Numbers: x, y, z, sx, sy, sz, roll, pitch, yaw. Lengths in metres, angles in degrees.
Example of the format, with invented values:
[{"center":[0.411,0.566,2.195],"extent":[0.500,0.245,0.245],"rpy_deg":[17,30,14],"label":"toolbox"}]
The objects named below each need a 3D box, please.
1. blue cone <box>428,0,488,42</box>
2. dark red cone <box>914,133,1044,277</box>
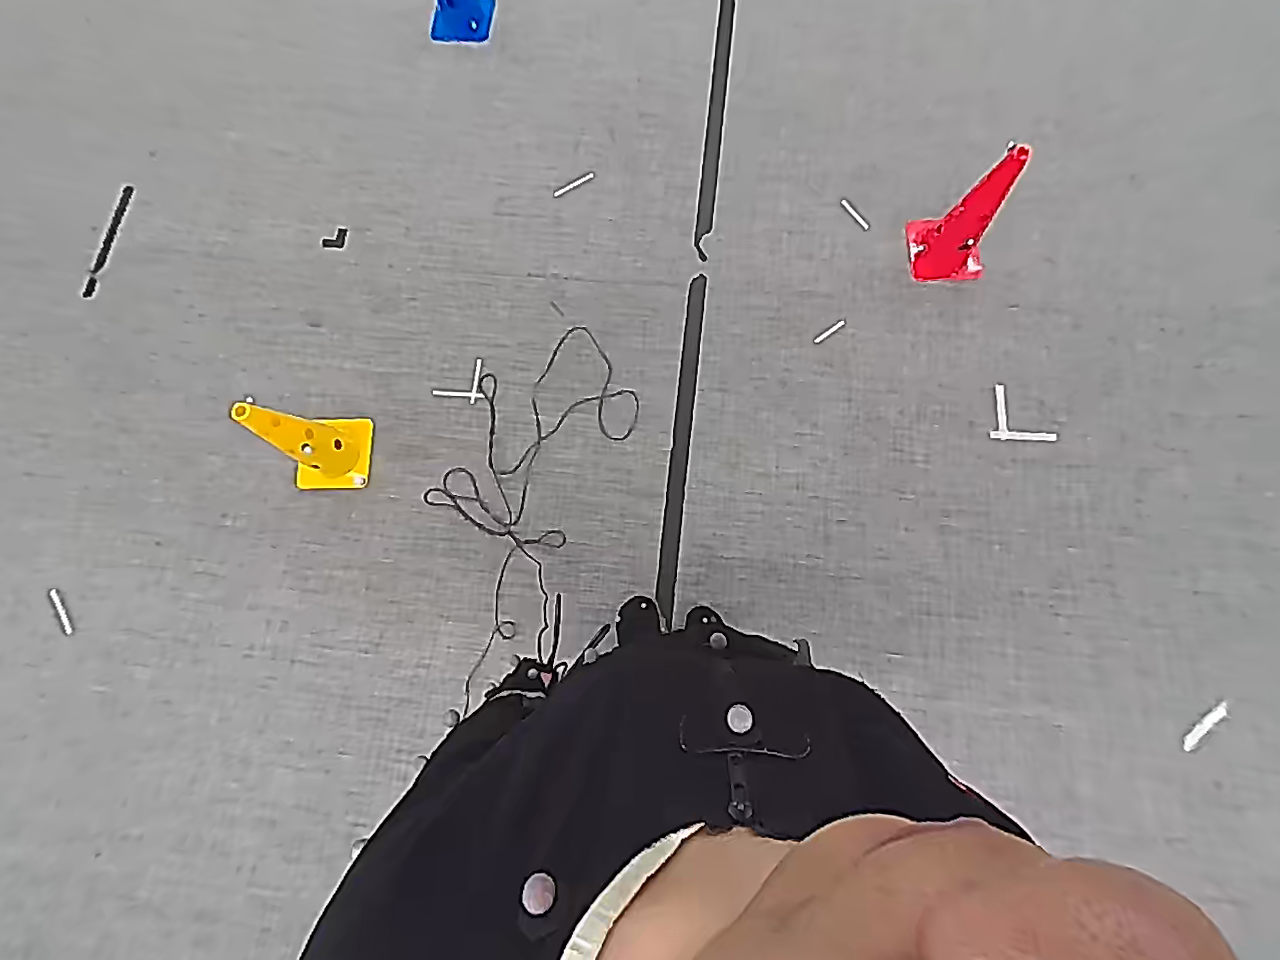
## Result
[{"center":[-0.621,-1.585,1.657],"extent":[0.192,0.380,0.193],"rpy_deg":[6,77,5],"label":"blue cone"},{"center":[0.876,-0.705,1.371],"extent":[0.201,0.394,0.202],"rpy_deg":[-2,77,3],"label":"dark red cone"}]
